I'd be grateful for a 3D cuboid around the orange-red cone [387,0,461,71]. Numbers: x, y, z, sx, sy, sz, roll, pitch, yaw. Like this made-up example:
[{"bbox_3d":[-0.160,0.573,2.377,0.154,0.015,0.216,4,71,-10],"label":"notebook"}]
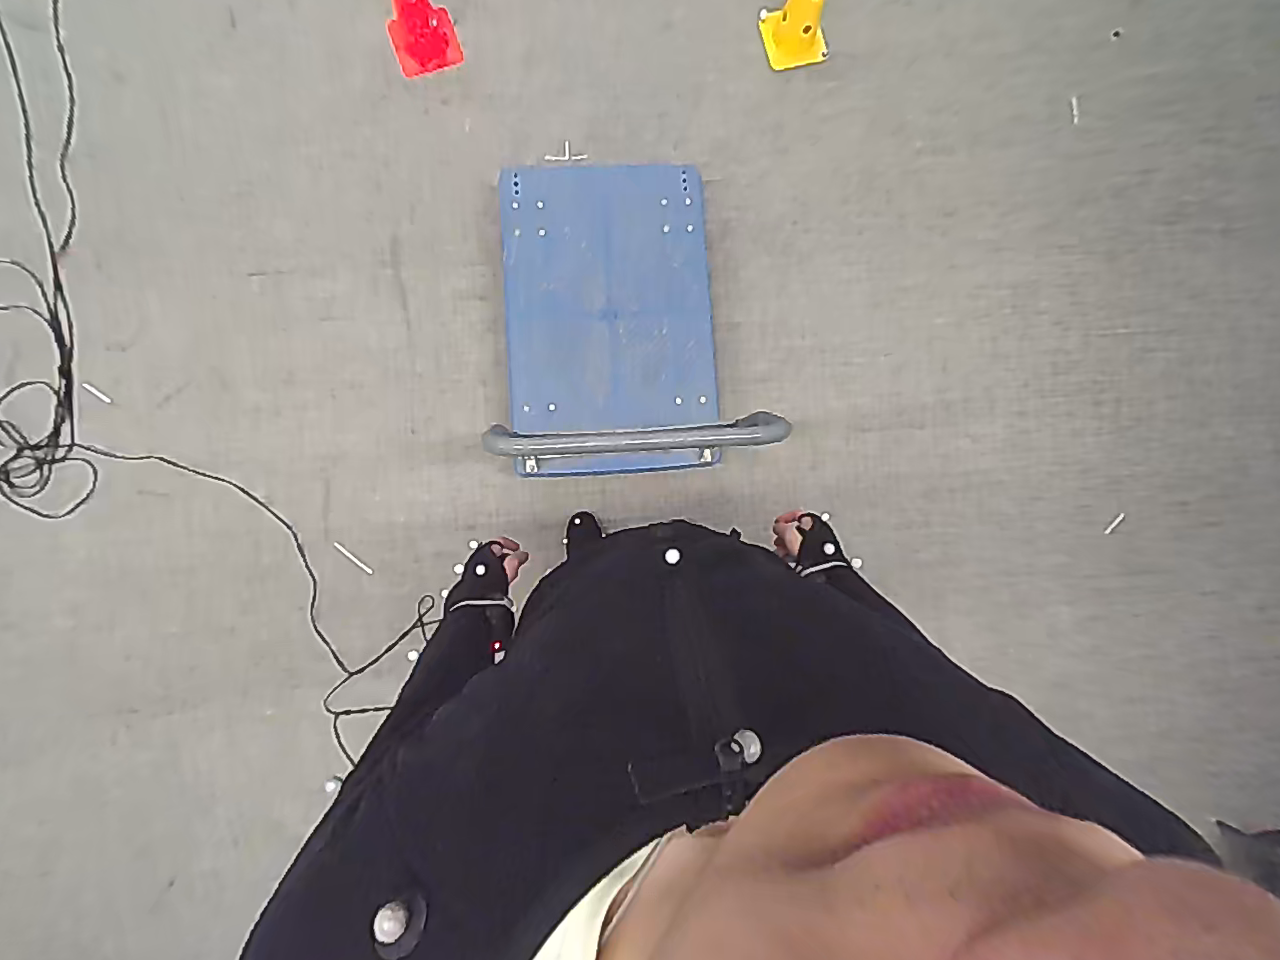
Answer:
[{"bbox_3d":[-0.667,-1.400,1.523,0.199,0.360,0.198,-19,87,-3],"label":"orange-red cone"}]
